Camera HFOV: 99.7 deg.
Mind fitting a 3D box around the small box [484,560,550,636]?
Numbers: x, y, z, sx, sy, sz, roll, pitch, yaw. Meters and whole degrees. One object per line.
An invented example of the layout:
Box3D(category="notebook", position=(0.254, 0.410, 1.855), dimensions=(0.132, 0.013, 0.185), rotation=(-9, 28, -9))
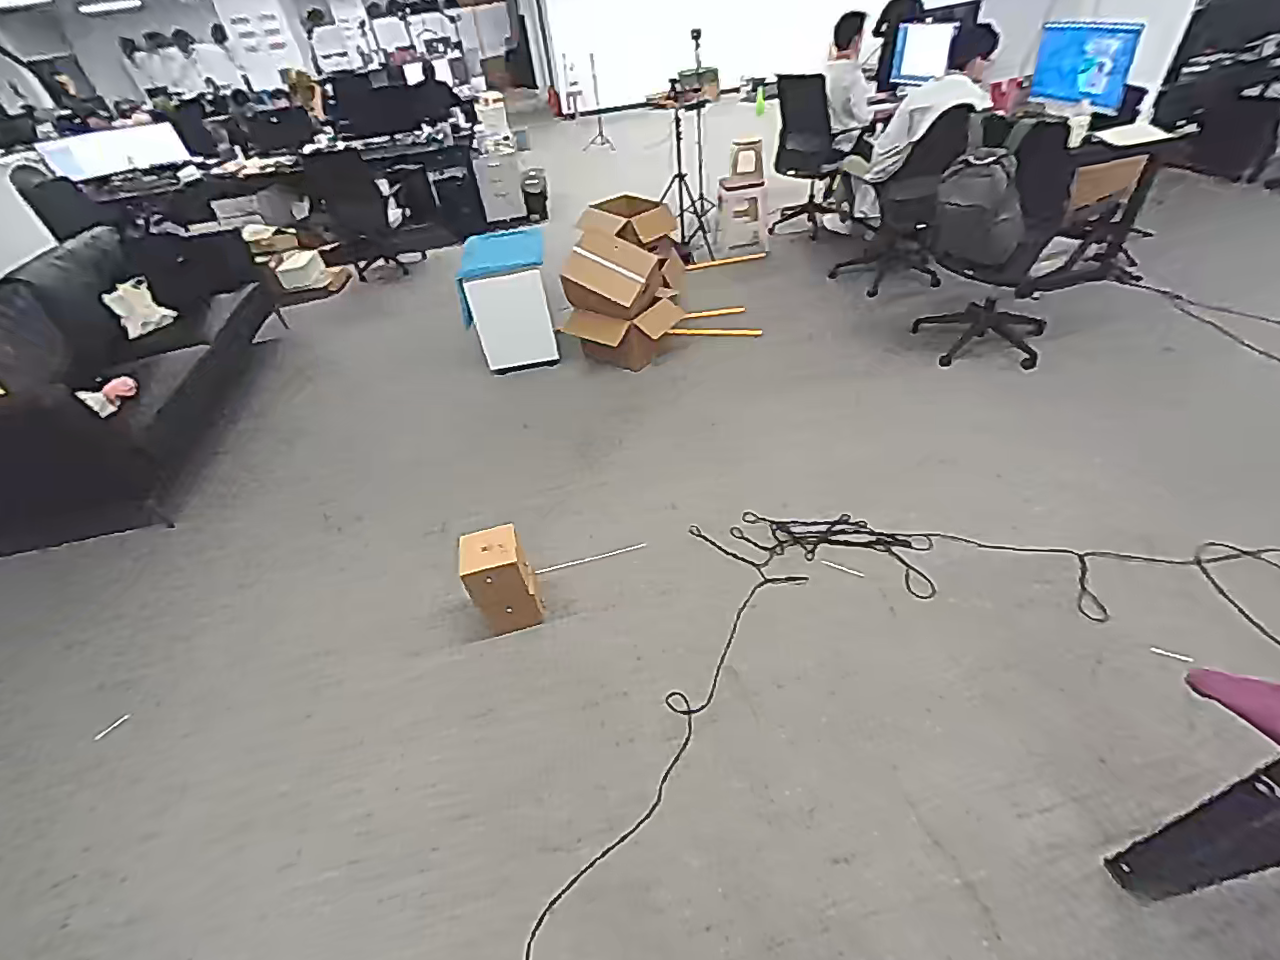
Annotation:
Box3D(category="small box", position=(-0.413, 0.400, 1.820), dimensions=(0.179, 0.176, 0.168), rotation=(-14, 41, -6))

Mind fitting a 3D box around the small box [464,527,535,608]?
Box3D(category="small box", position=(-0.443, 0.280, 1.712), dimensions=(0.179, 0.176, 0.168), rotation=(-14, 42, -5))
